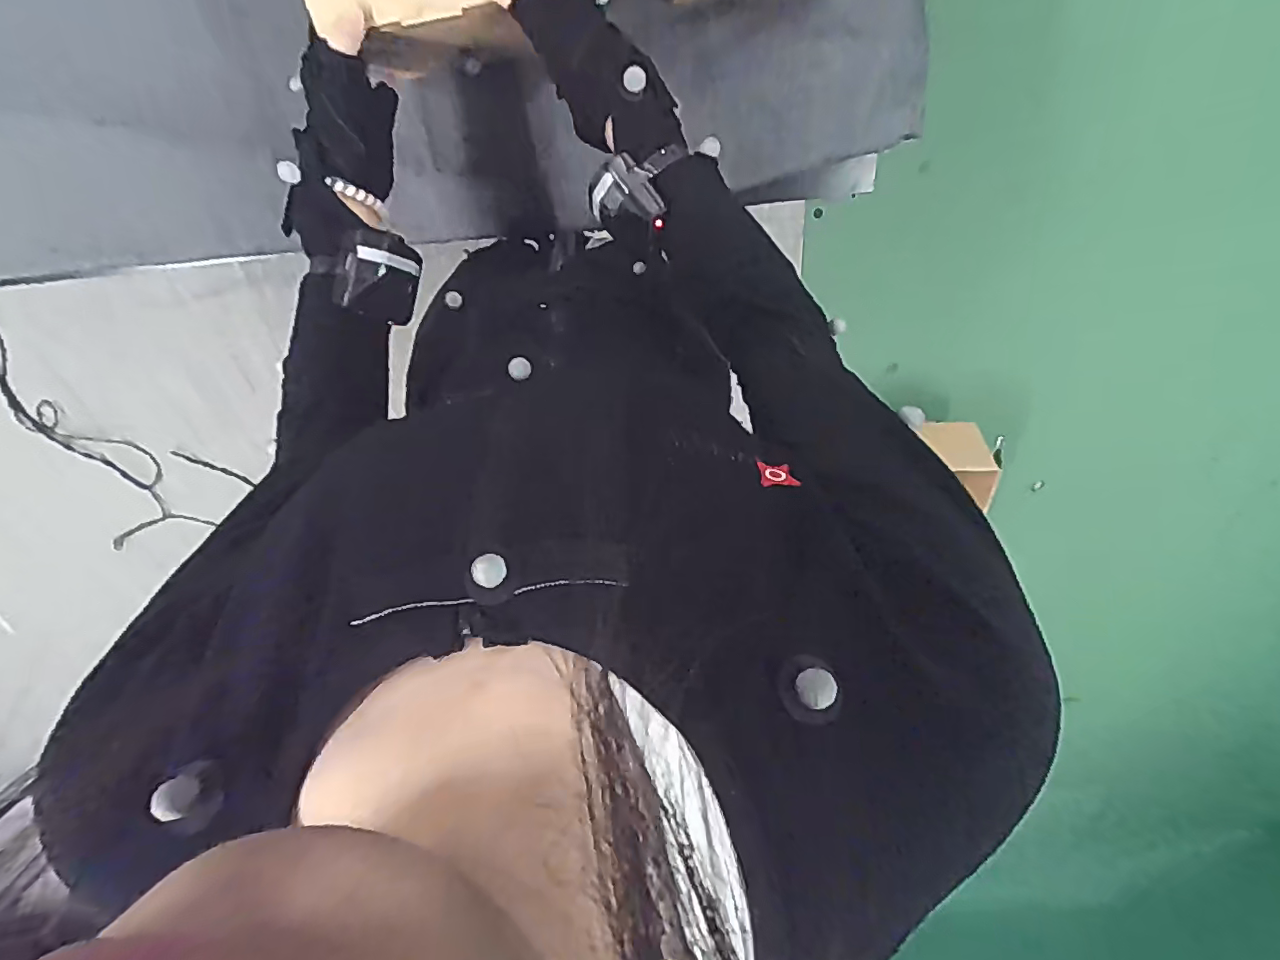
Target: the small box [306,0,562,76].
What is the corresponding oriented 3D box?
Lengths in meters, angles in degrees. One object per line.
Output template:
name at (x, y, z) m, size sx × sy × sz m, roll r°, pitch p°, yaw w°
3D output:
small box at (-0.162, -0.437, 0.407) m, size 0.168 × 0.176 × 0.179 m, roll -9°, pitch 119°, yaw 4°
